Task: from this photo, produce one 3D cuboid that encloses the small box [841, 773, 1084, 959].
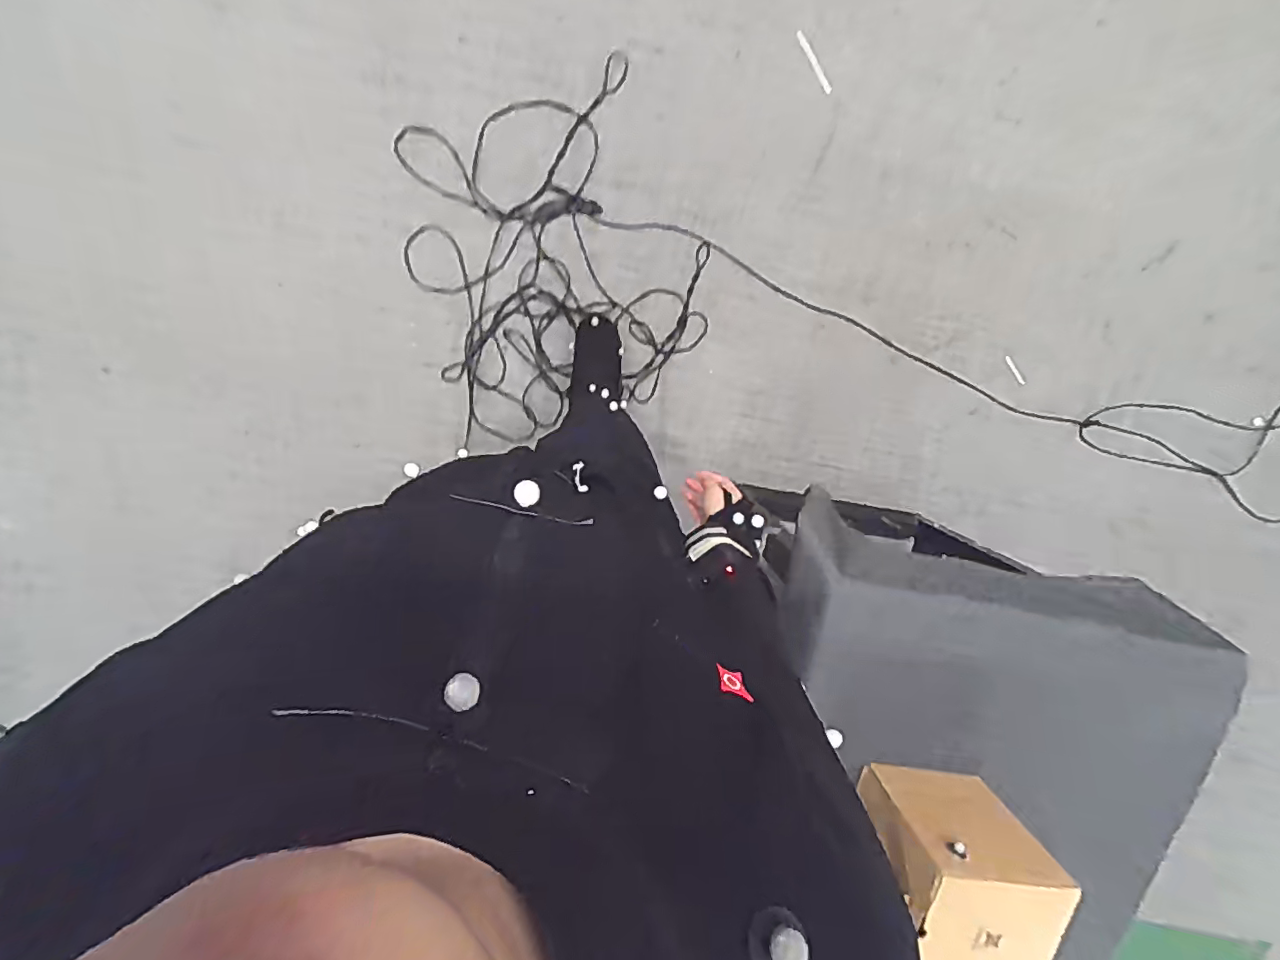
[{"bbox_3d":[0.388,0.502,0.684,0.179,0.176,0.168,9,102,-7],"label":"small box"}]
